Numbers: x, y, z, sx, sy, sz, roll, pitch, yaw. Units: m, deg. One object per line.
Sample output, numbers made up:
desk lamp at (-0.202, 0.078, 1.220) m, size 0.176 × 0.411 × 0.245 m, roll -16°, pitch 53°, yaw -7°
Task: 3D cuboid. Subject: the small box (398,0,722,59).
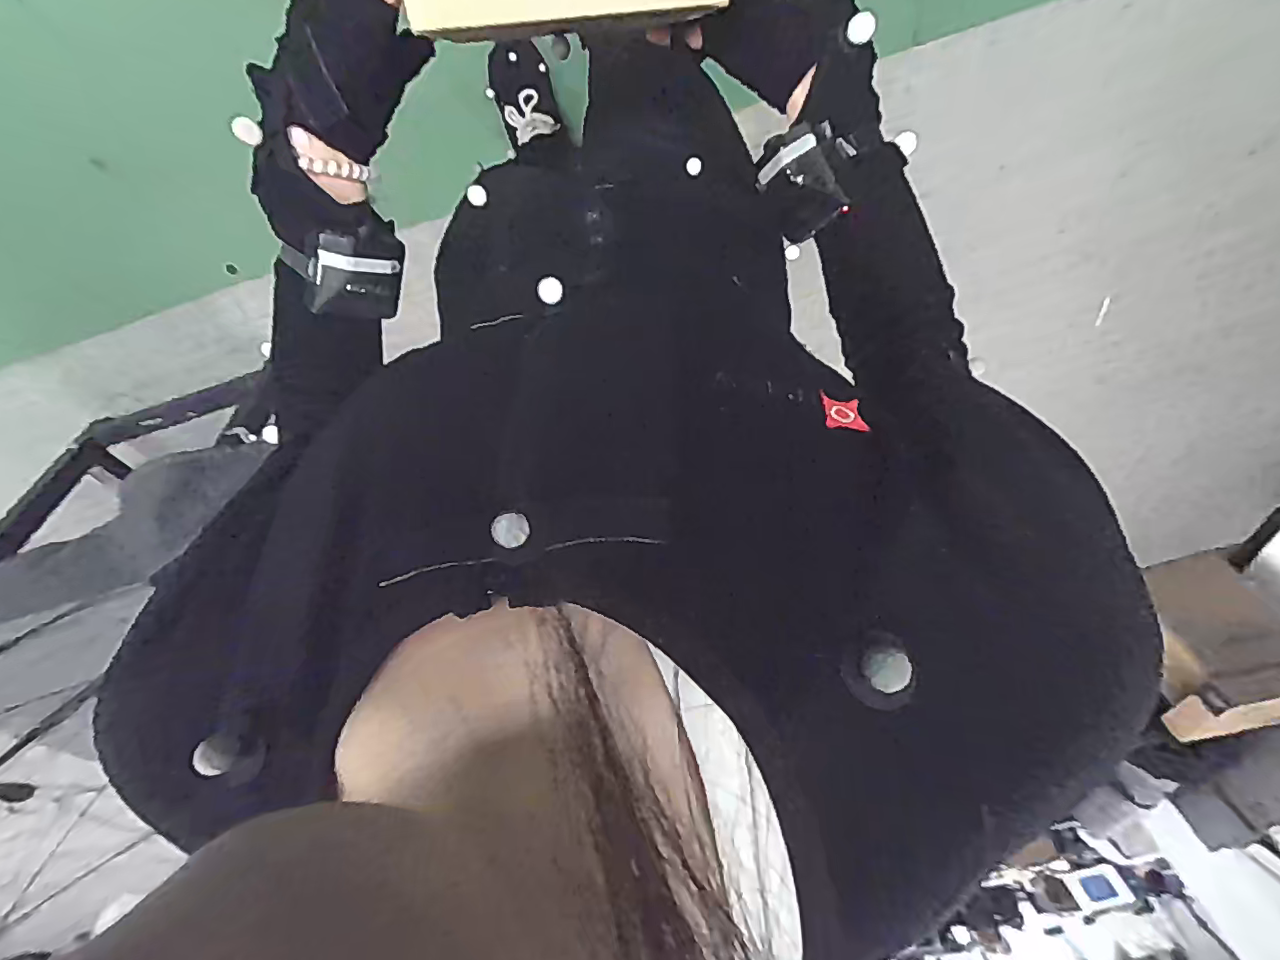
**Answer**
small box at (-0.052, -0.344, 0.290) m, size 0.168 × 0.176 × 0.179 m, roll -9°, pitch 128°, yaw -4°
